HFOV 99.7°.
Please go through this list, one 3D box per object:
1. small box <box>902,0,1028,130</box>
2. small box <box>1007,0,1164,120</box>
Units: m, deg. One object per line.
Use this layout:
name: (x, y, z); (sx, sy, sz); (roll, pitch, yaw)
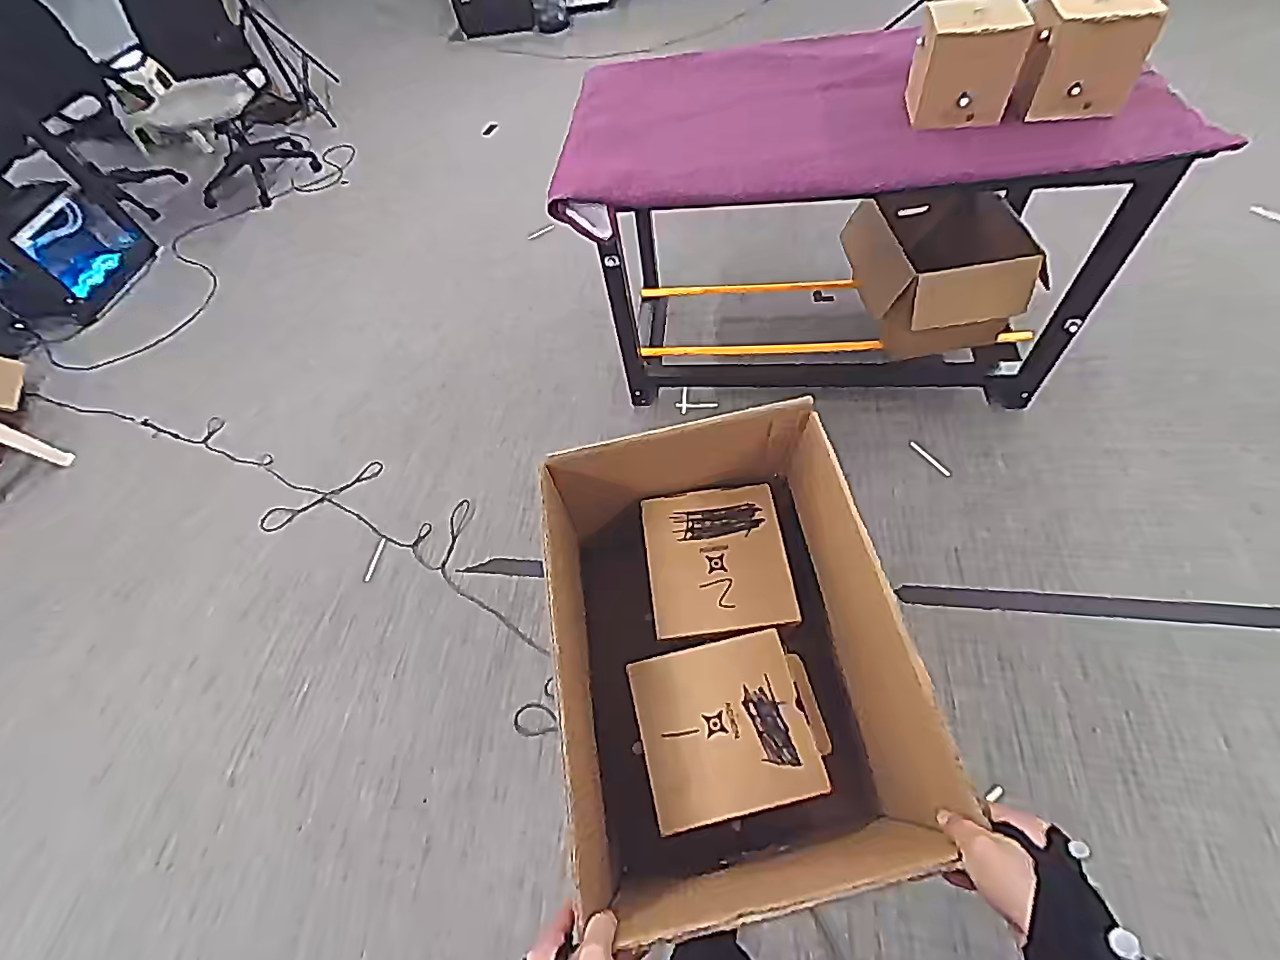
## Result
small box: (0.646, -0.842, 1.099); (0.168, 0.176, 0.179); (4, 57, 12)
small box: (0.853, -0.839, 1.062); (0.168, 0.176, 0.179); (4, 57, 12)
